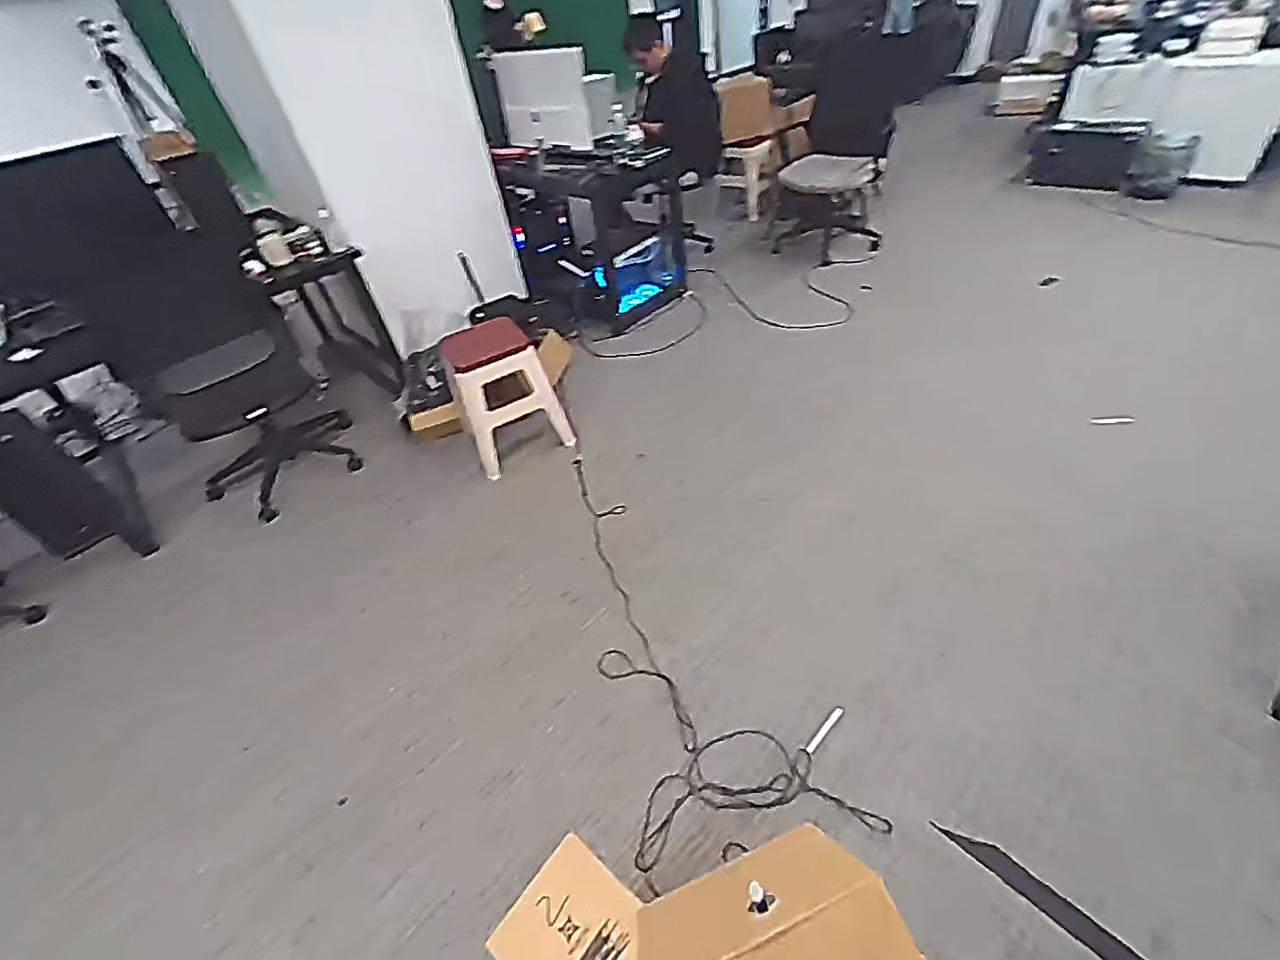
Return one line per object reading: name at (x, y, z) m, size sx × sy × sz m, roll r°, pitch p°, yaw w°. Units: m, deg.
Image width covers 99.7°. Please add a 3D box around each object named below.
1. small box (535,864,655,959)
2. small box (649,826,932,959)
small box at (-0.039, 0.769, 0.864) m, size 0.168 × 0.176 × 0.179 m, roll 26°, pitch 56°, yaw 33°
small box at (0.112, 0.382, 0.385) m, size 0.179 × 0.176 × 0.168 m, roll -22°, pitch 69°, yaw -7°
